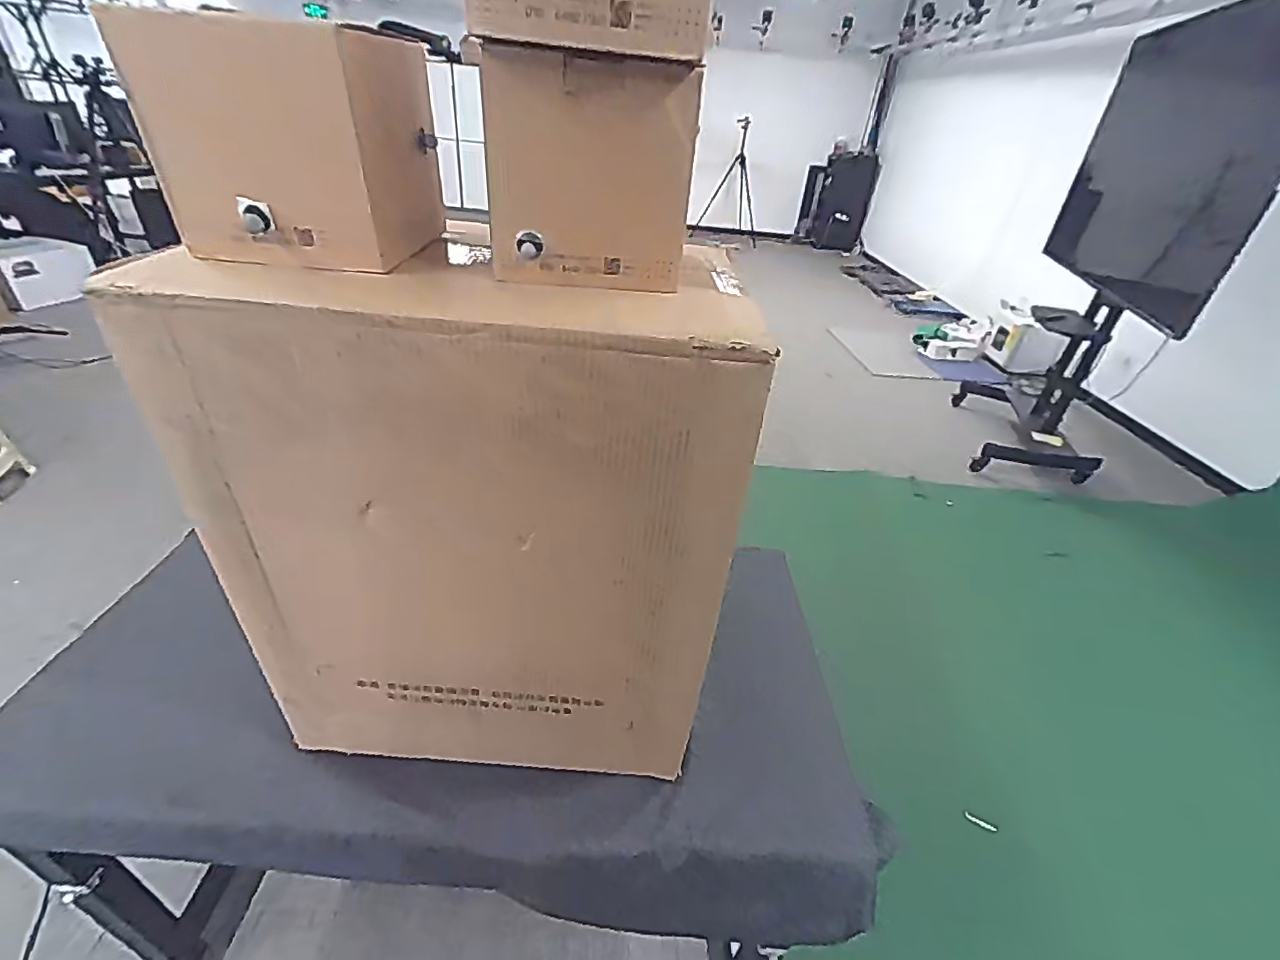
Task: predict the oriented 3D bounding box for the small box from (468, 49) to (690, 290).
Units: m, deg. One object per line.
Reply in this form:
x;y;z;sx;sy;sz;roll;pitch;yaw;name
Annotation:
-0.052;-0.285;0.504;0.168;0.176;0.179;1;35;-6;small box

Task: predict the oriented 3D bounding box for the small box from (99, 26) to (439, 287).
-0.293;-0.286;0.484;0.168;0.176;0.179;2;37;-1;small box

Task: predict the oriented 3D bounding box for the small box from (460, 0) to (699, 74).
-0.042;-0.406;0.394;0.168;0.176;0.179;2;35;-4;small box
